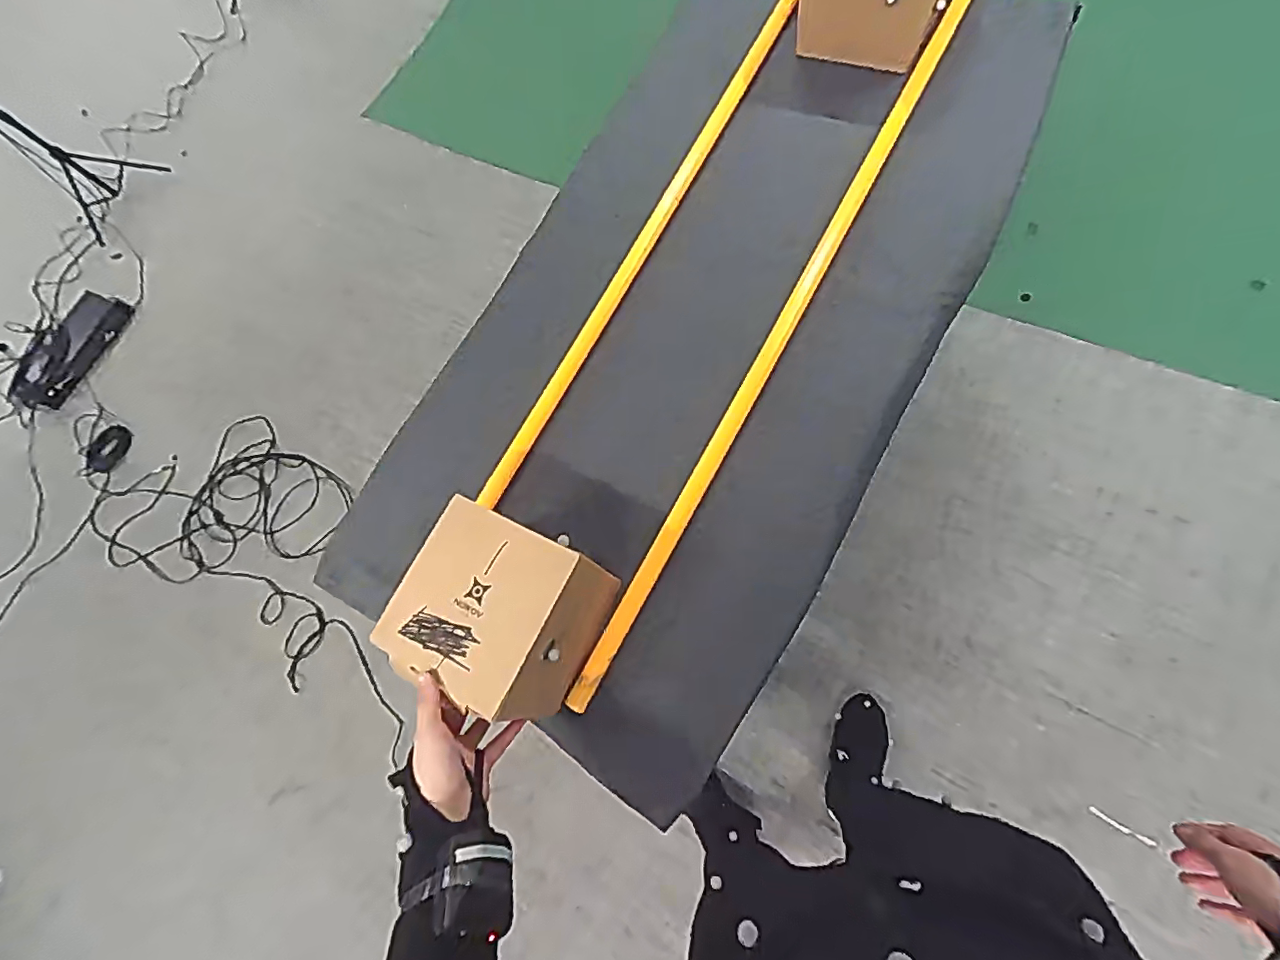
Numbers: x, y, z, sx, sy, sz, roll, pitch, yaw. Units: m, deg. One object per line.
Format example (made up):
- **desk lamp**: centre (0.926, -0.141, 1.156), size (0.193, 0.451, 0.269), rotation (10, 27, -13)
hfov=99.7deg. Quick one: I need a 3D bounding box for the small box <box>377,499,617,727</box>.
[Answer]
- **small box**: centre (-0.144, 0.150, 0.613), size (0.168, 0.176, 0.179), rotation (23, 77, 19)
